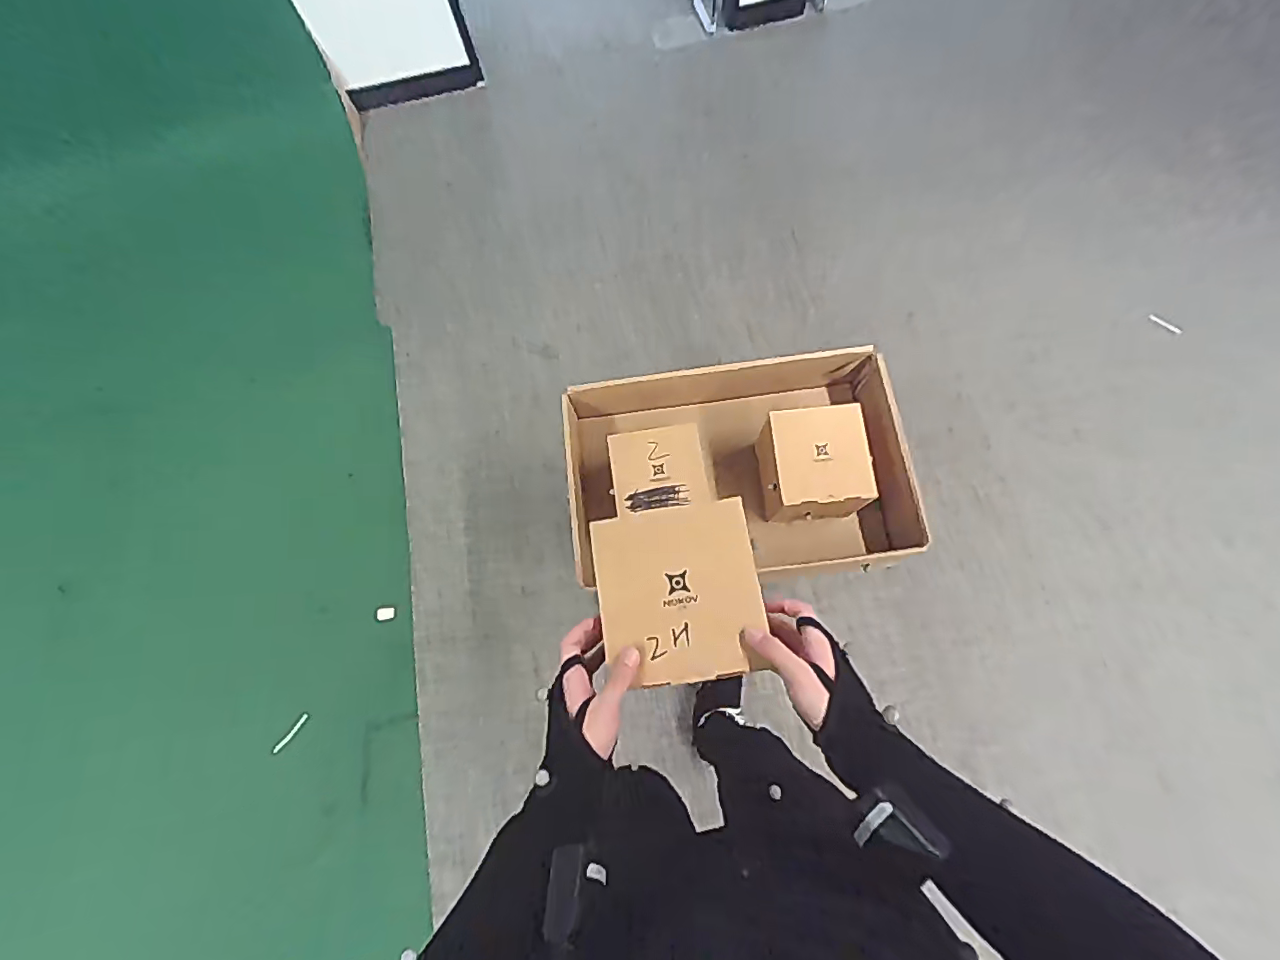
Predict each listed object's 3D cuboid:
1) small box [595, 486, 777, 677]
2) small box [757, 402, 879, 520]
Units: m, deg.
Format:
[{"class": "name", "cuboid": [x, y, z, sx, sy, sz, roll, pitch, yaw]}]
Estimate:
[{"class": "small box", "cuboid": [0.049, 0.123, 0.624, 0.168, 0.176, 0.179, -10, 73, 4]}, {"class": "small box", "cuboid": [0.324, -0.030, 1.021, 0.168, 0.176, 0.179, -5, 75, 2]}]
